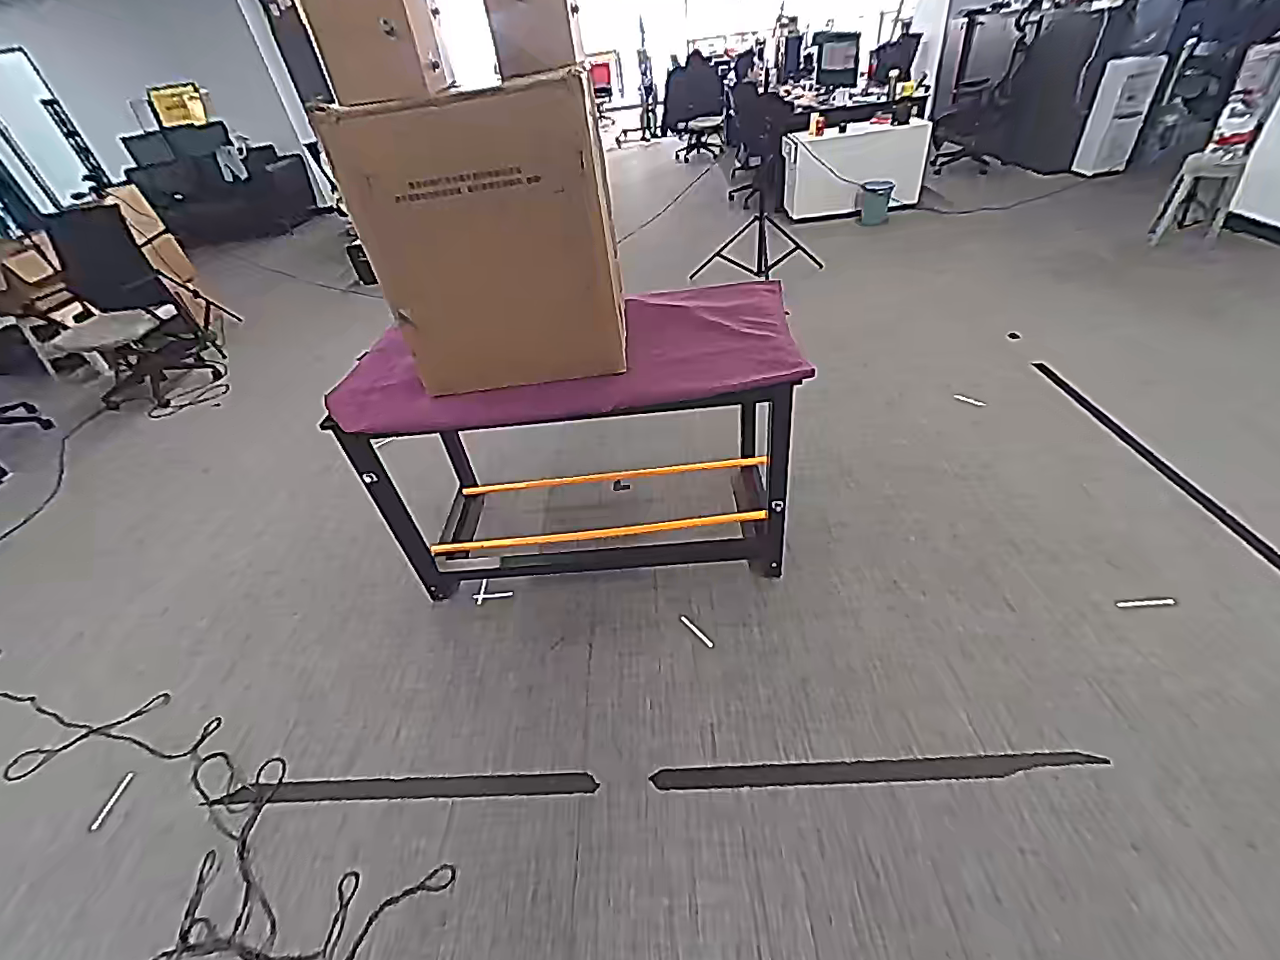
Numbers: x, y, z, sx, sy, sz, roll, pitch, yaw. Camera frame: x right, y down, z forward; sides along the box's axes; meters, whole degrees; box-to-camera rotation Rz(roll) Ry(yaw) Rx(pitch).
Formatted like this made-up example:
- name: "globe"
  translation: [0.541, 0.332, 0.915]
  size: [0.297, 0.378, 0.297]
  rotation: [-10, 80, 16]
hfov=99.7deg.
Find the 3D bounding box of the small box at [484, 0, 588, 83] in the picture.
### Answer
- name: "small box"
  translation: [-0.219, -0.990, 1.179]
  size: [0.179, 0.176, 0.168]
  rotation: [-4, 40, 8]
